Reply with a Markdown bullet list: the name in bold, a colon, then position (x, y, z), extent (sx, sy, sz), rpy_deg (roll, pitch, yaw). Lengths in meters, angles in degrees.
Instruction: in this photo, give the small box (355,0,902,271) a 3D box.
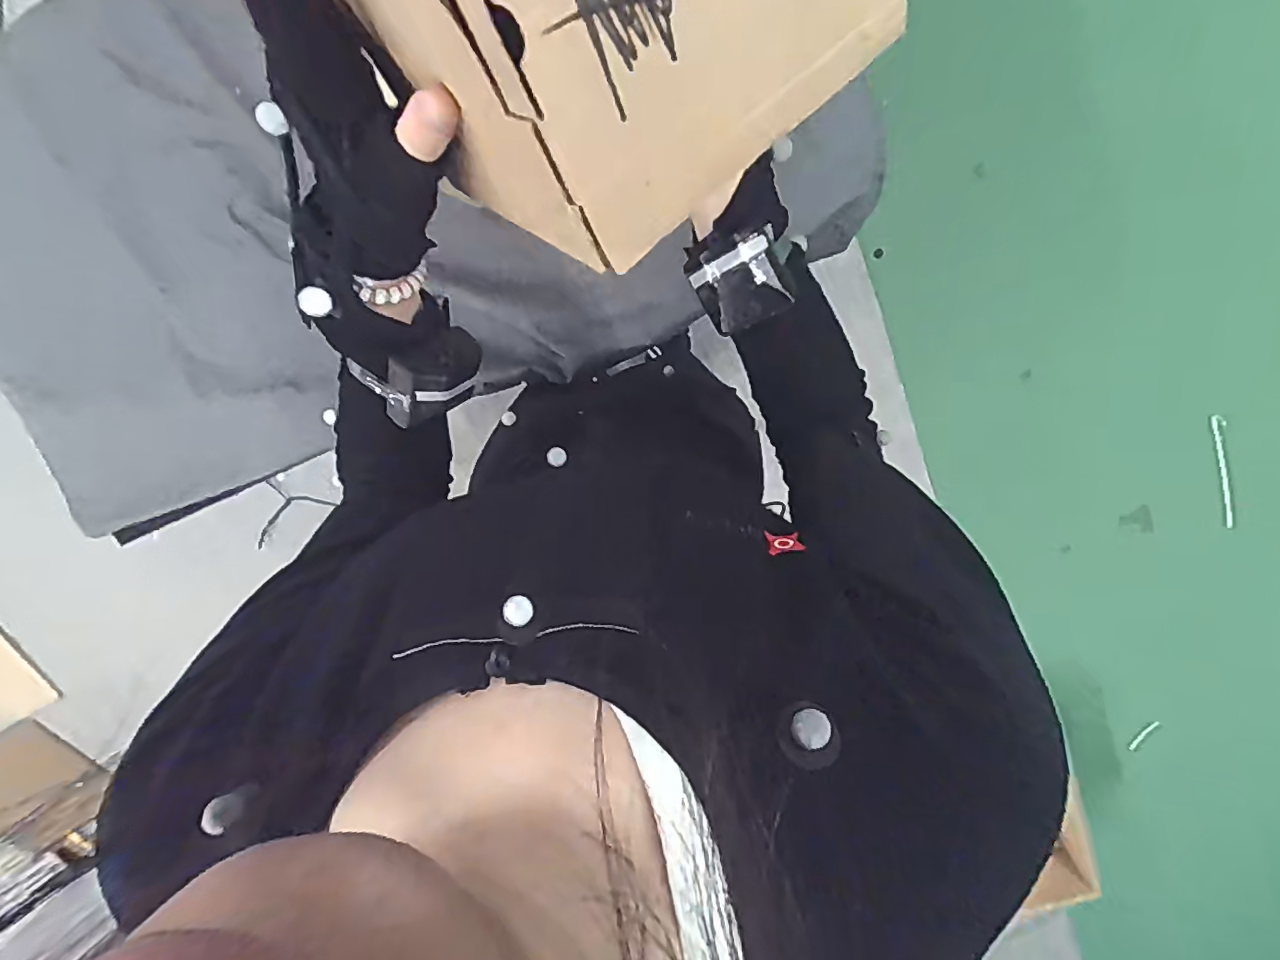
- **small box**: position (-0.022, -0.225, 0.220), extent (0.179, 0.176, 0.168), rpy_deg (-42, 142, -7)
